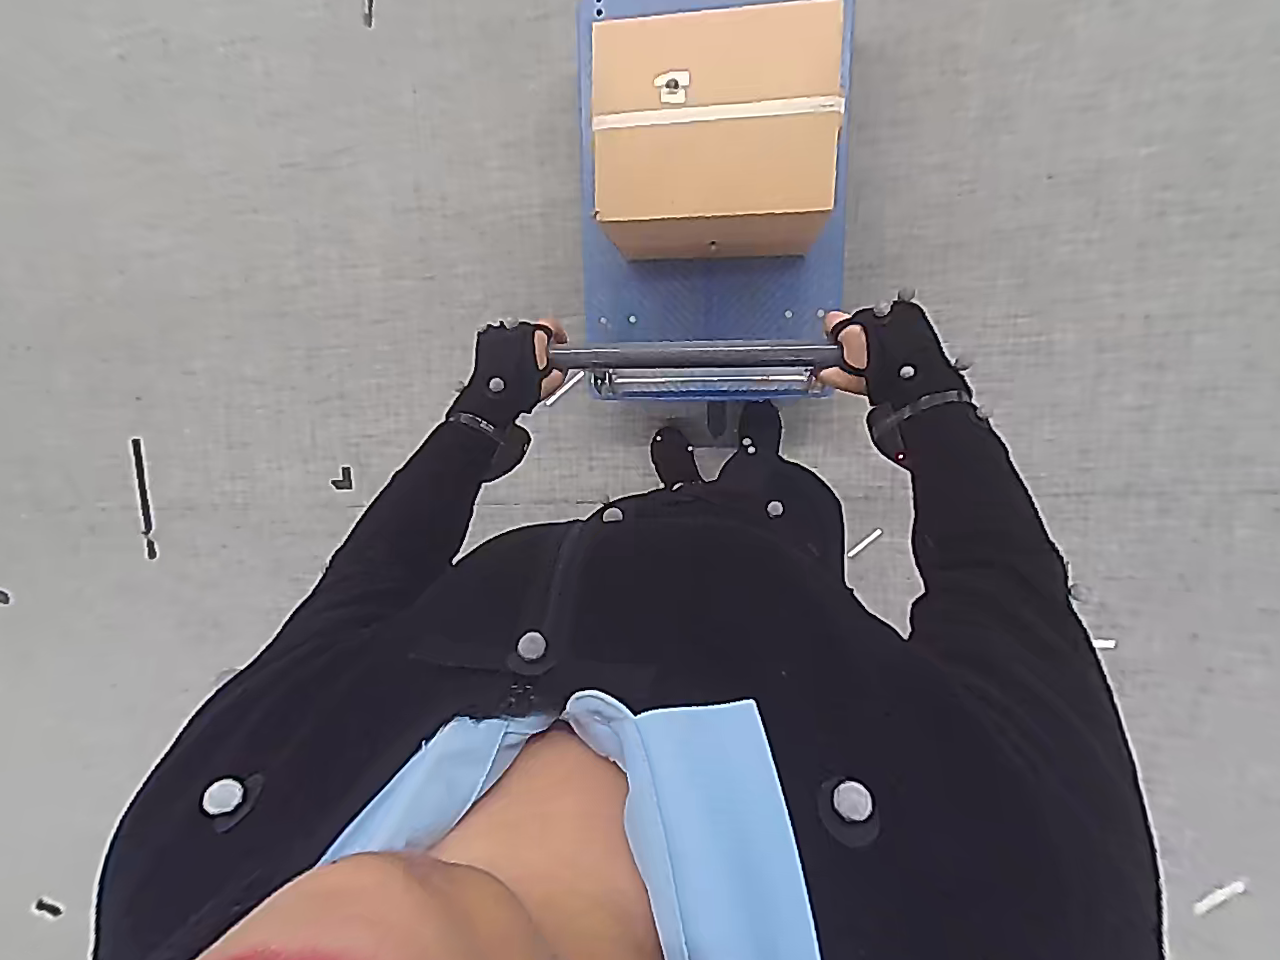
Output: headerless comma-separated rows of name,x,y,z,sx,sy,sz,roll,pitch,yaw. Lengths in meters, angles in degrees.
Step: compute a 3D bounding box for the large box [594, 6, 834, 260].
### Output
large box,0.145,-0.633,1.062,0.408,0.320,0.320,1,99,9
